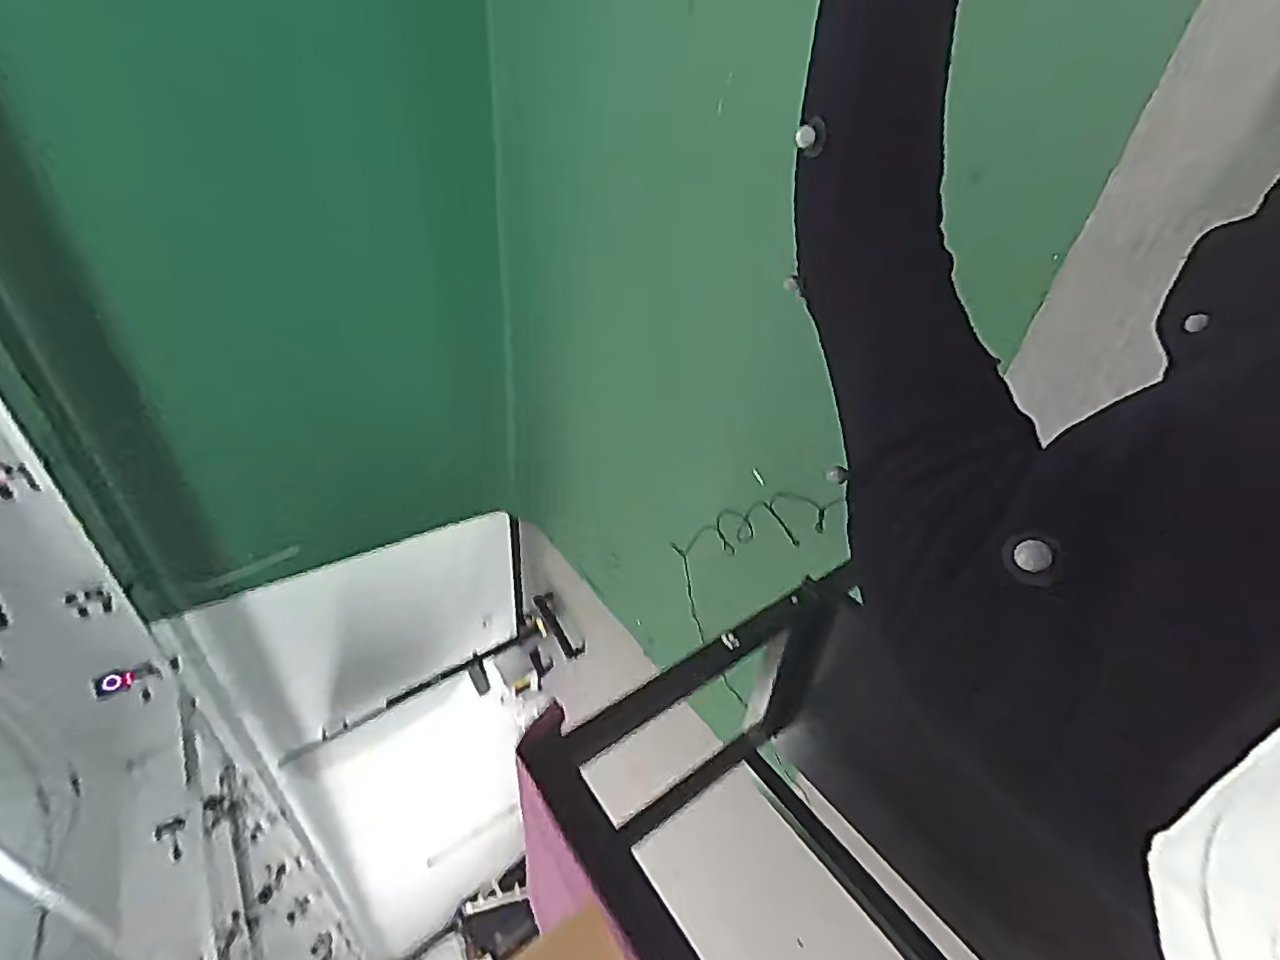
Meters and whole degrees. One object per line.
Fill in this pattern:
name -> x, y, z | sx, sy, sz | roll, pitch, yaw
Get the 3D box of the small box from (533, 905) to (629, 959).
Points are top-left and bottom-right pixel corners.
small box -> -0.078, 0.706, 0.685 | 0.179, 0.176, 0.168 | 37, 133, 39
